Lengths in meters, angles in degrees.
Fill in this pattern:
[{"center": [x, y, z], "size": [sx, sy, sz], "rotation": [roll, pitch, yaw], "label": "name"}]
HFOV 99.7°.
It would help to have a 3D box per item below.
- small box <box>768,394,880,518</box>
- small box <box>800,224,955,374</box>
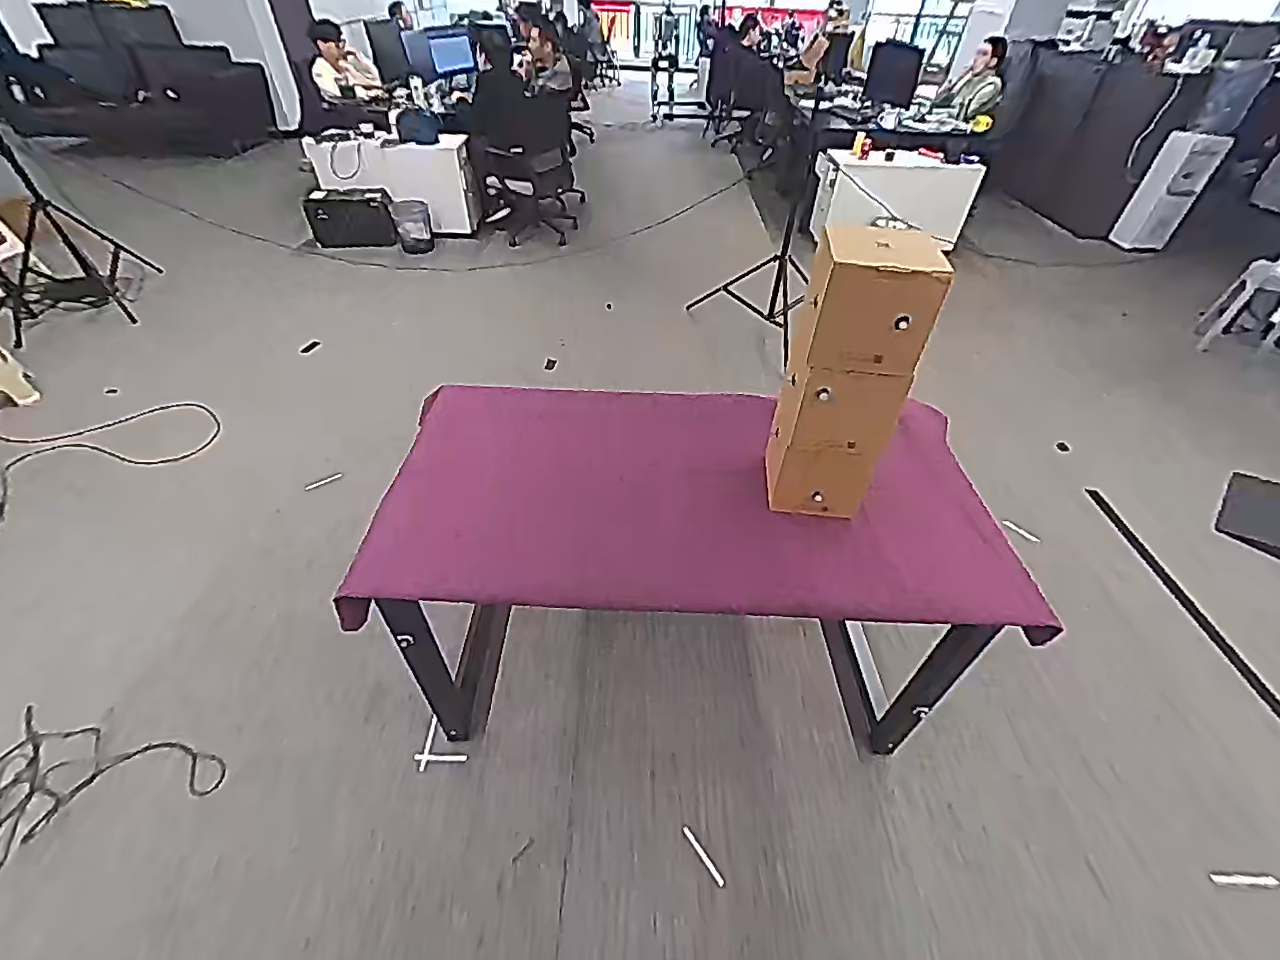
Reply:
[{"center": [0.354, -0.049, 1.079], "size": [0.168, 0.176, 0.179], "rotation": [5, 43, 5], "label": "small box"}, {"center": [0.357, -0.284, 0.852], "size": [0.168, 0.176, 0.179], "rotation": [7, 42, 5], "label": "small box"}]
